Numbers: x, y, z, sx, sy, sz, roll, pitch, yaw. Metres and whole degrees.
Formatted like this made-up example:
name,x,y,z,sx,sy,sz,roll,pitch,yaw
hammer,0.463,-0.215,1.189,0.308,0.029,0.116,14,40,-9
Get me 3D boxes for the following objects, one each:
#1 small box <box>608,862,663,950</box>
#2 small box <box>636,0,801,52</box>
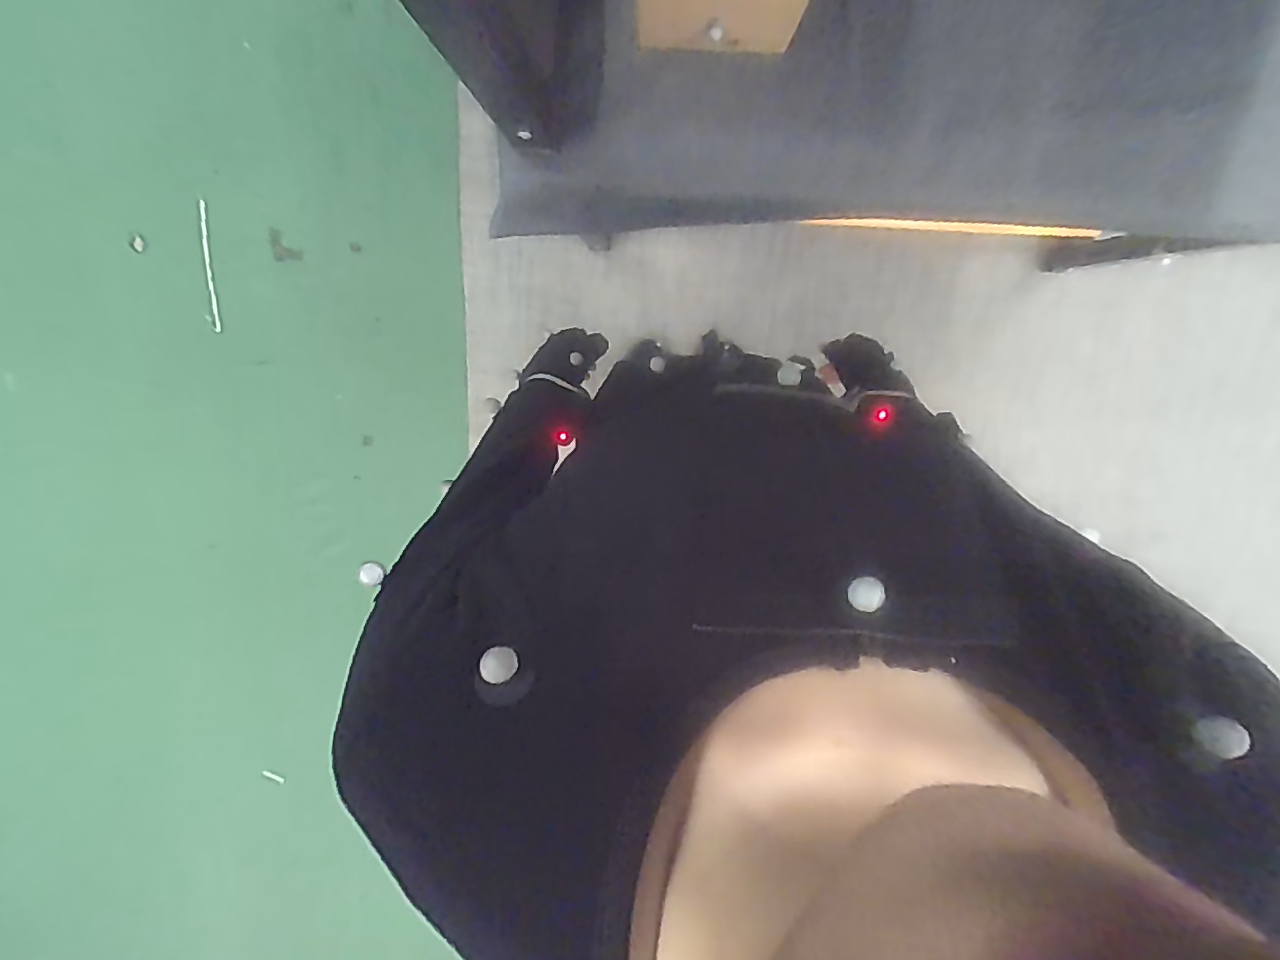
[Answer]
name,x,y,z,sx,sy,sz,roll,pitch,yaw
small box,-0.012,1.401,1.787,0.168,0.176,0.179,-4,105,4
small box,0.079,-0.546,0.502,0.168,0.176,0.179,4,105,1
